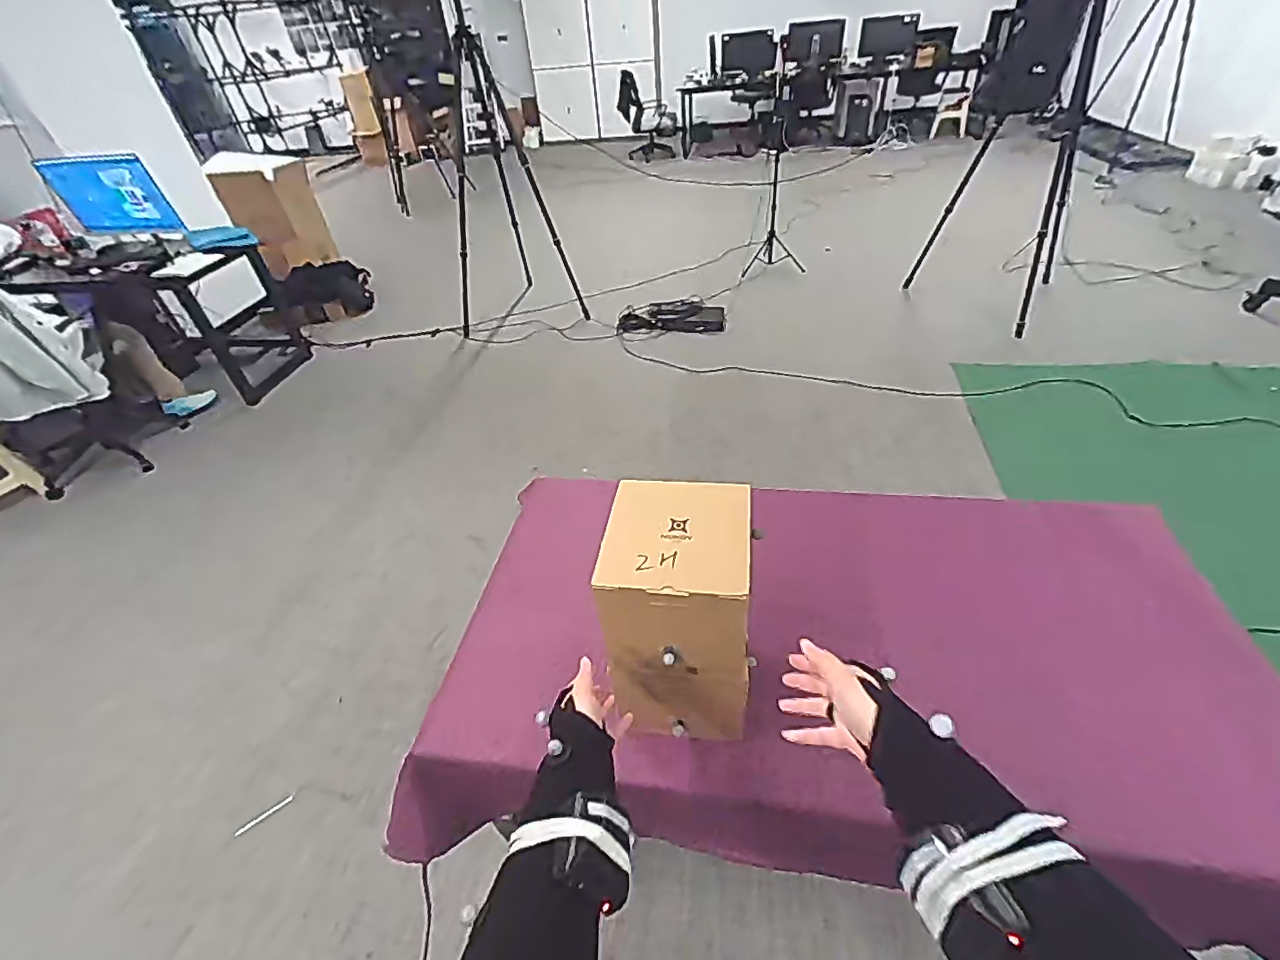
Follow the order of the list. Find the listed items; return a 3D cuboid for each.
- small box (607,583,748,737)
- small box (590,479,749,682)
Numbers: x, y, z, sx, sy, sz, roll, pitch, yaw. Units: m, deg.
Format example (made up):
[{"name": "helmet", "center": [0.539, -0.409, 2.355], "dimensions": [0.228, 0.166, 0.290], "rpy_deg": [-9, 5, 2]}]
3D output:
[{"name": "small box", "center": [0.059, 0.248, 0.774], "dimensions": [0.179, 0.176, 0.168], "rpy_deg": [2, 41, 8]}, {"name": "small box", "center": [0.046, 0.120, 0.669], "dimensions": [0.168, 0.176, 0.179], "rpy_deg": [2, 41, 10]}]
